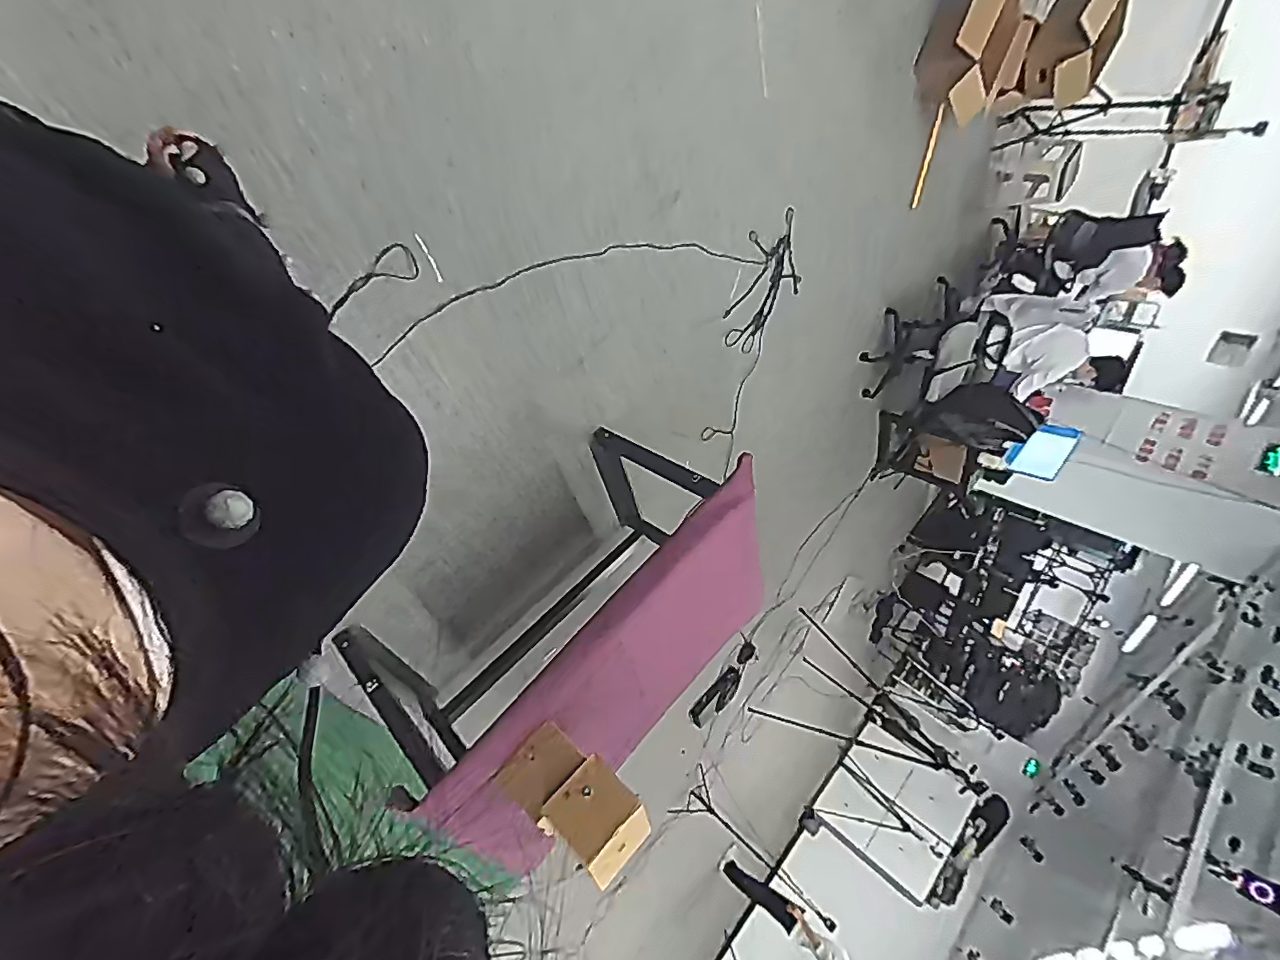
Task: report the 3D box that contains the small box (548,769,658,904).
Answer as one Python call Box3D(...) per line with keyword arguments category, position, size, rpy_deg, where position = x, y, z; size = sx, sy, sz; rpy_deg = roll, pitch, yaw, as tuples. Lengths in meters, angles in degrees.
Box3D(category="small box", position=(-0.082, 0.802, 1.231), size=(0.168, 0.176, 0.179), rpy_deg=(-37, 135, -29))

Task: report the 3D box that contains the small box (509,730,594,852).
Box3D(category="small box", position=(-0.201, 0.765, 1.339), size=(0.179, 0.176, 0.168), rpy_deg=(-43, 139, -23))
